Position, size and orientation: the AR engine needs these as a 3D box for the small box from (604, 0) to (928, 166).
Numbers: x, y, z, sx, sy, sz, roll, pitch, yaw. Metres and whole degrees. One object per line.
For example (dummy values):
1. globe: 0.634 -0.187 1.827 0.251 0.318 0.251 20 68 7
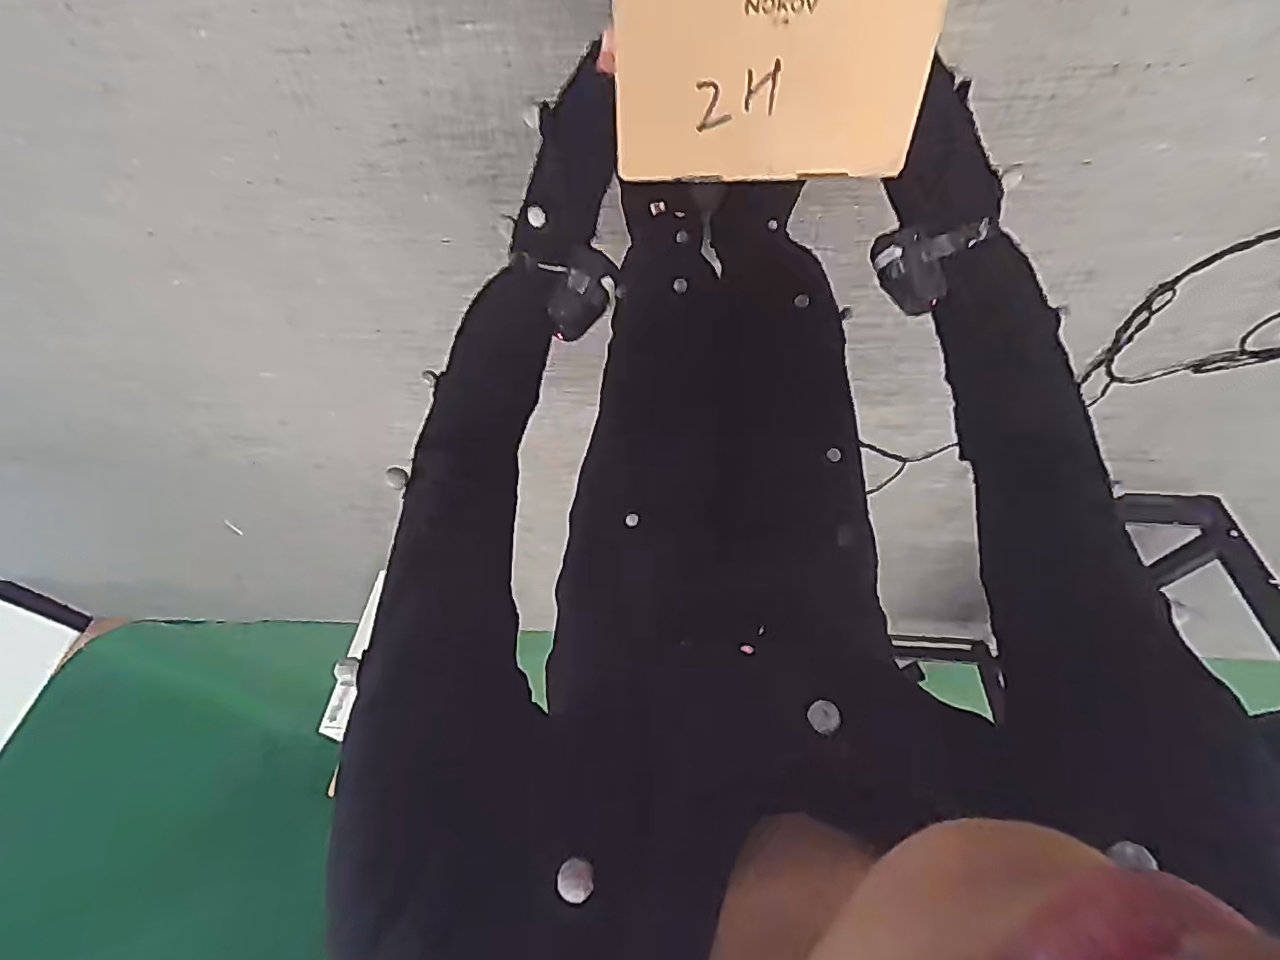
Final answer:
1. small box: 0.062 -0.304 0.322 0.168 0.176 0.179 0 132 1
